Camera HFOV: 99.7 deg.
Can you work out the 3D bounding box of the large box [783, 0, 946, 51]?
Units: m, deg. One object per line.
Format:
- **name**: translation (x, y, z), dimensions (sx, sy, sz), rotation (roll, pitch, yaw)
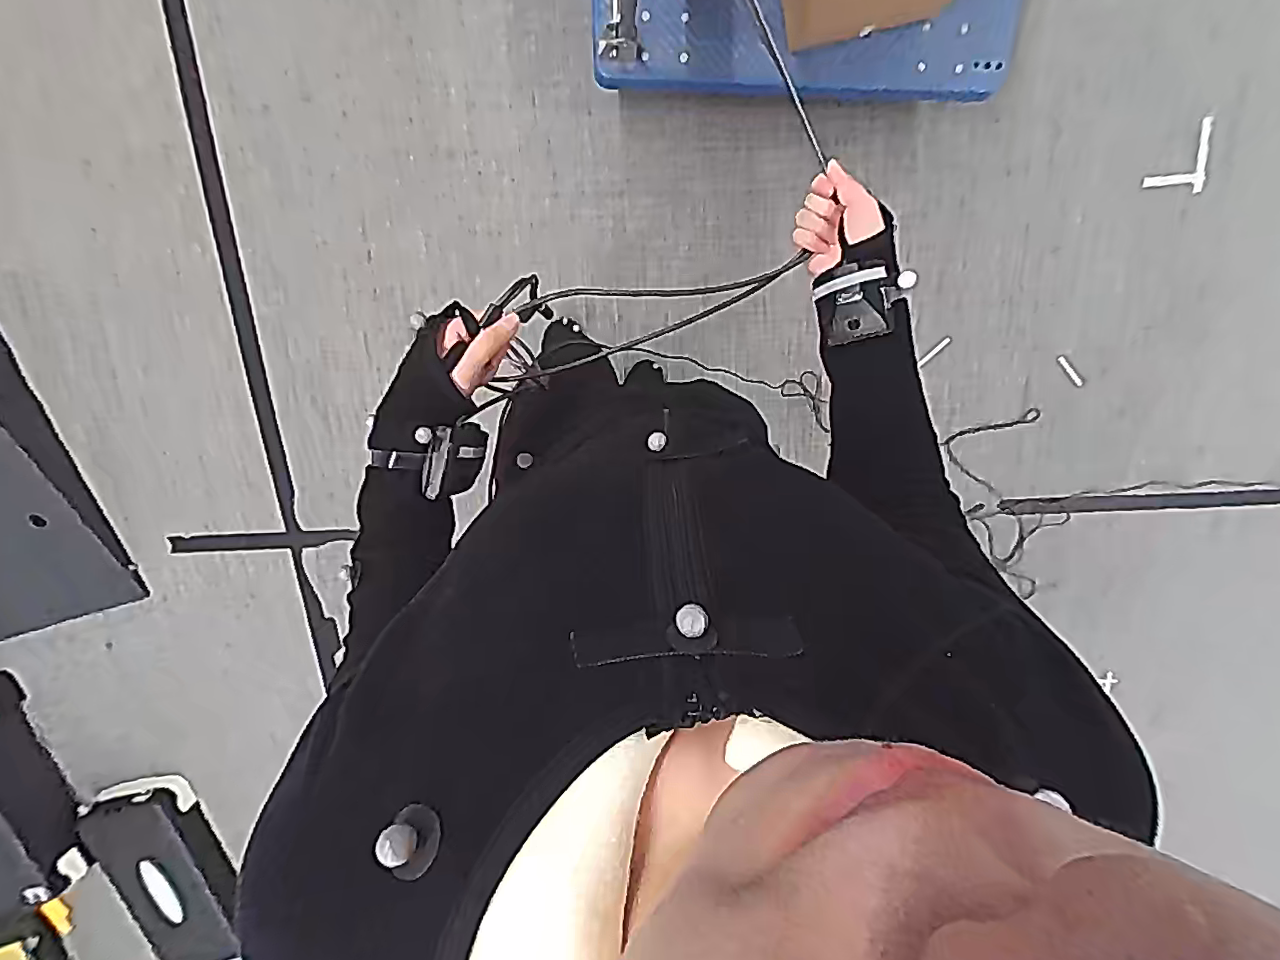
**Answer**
- **large box**: translation (0.413, -1.058, 0.912), dimensions (0.320, 0.320, 0.408), rotation (-13, 106, 2)
